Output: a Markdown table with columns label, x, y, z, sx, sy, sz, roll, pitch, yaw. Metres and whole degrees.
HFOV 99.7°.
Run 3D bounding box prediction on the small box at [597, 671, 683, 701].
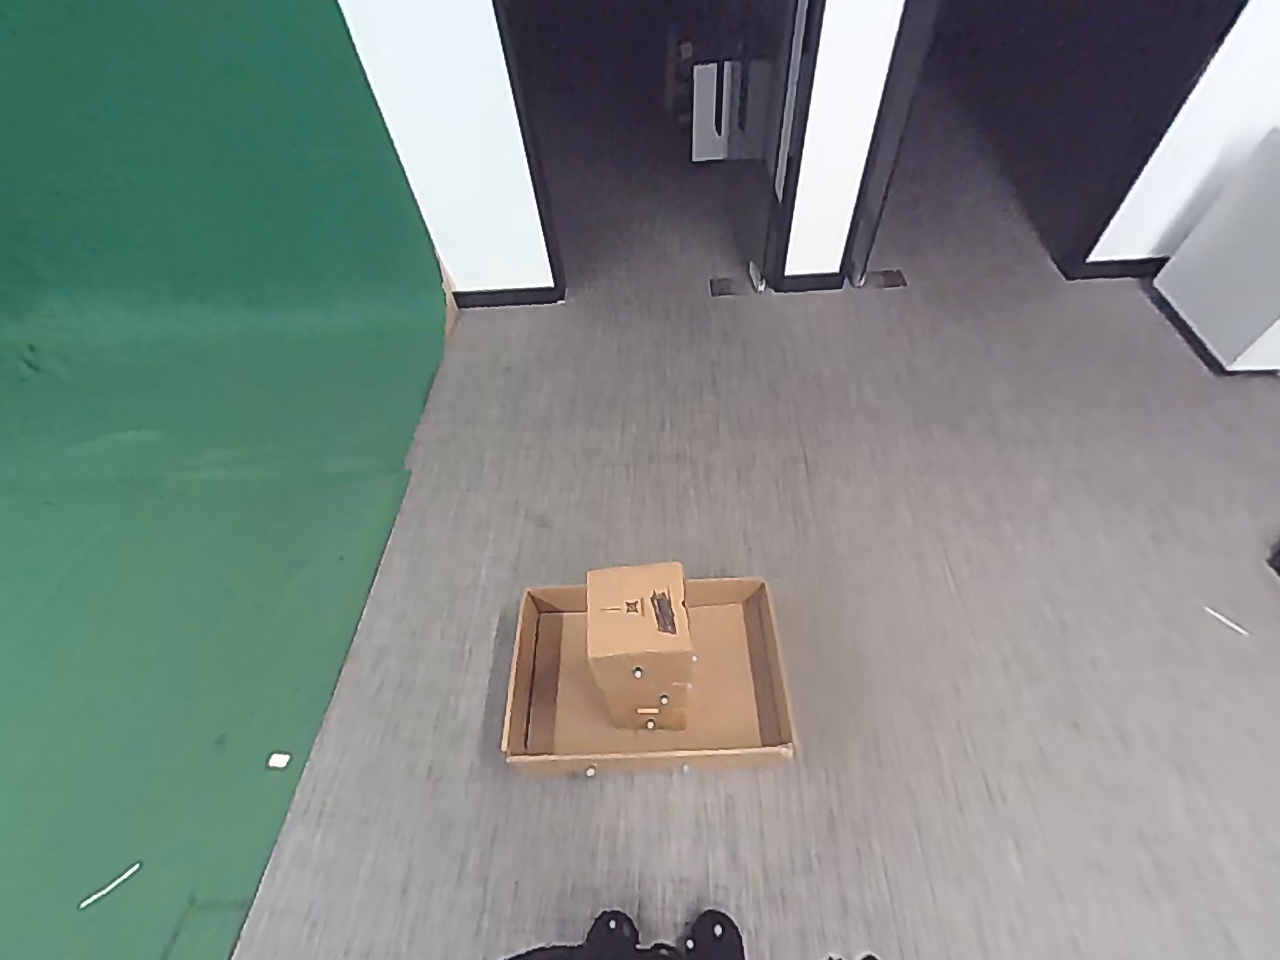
| label | x | y | z | sx | sy | sz | roll | pitch | yaw |
| --- | --- | --- | --- | --- | --- | --- | --- | --- | --- |
| small box | 0.005 | 0.359 | 1.142 | 0.168 | 0.176 | 0.179 | -1 | 52 | 3 |

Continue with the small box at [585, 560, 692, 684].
| label | x | y | z | sx | sy | sz | roll | pitch | yaw |
| --- | --- | --- | --- | --- | --- | --- | --- | --- | --- |
| small box | -0.004 | 0.267 | 1.006 | 0.179 | 0.176 | 0.168 | -7 | 53 | -2 |

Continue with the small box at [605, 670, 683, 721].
| label | x | y | z | sx | sy | sz | roll | pitch | yaw |
| --- | --- | --- | --- | --- | --- | --- | --- | --- | --- |
| small box | 0.017 | 0.458 | 1.270 | 0.168 | 0.176 | 0.179 | -1 | 53 | 5 |
